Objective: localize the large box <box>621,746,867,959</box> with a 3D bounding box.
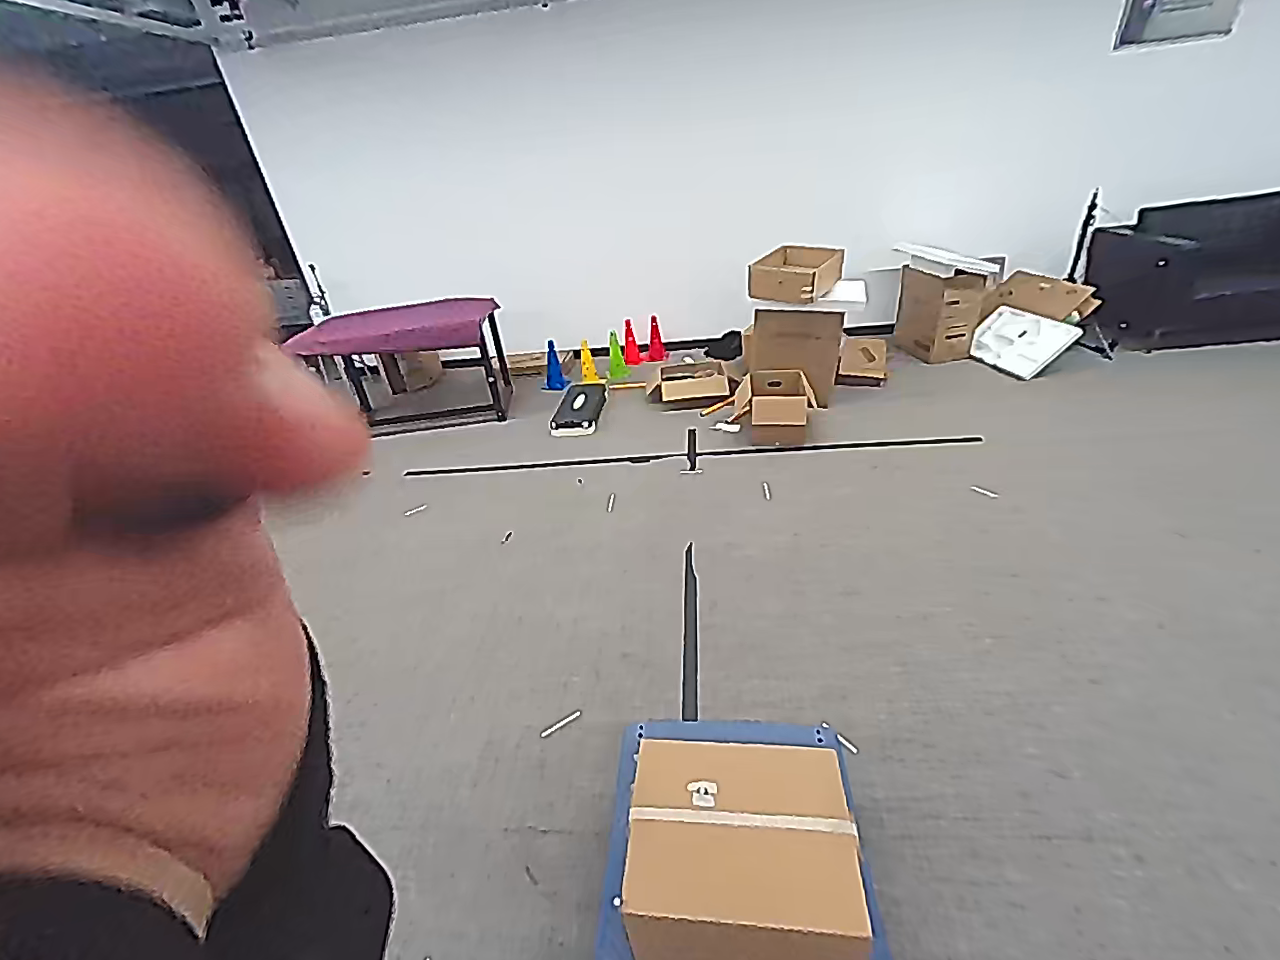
[{"bbox_3d":[0.199,0.767,1.083,0.408,0.320,0.320,-3,30,9],"label":"large box"}]
